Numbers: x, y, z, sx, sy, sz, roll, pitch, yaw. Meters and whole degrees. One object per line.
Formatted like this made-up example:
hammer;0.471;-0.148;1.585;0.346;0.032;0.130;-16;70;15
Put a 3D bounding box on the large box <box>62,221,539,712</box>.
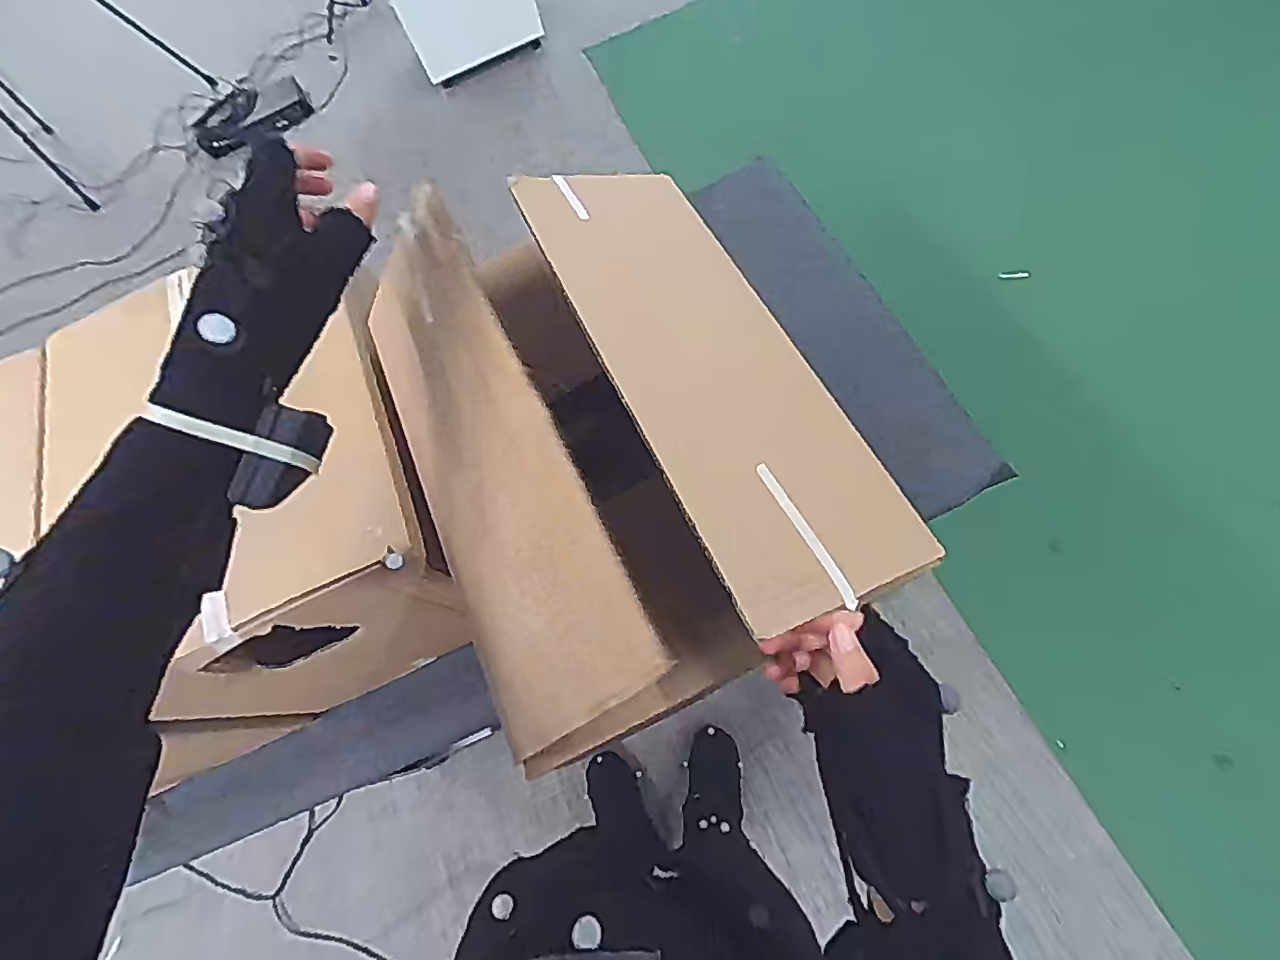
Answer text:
large box;-0.362;0.003;0.630;0.320;0.320;0.408;-26;68;0
